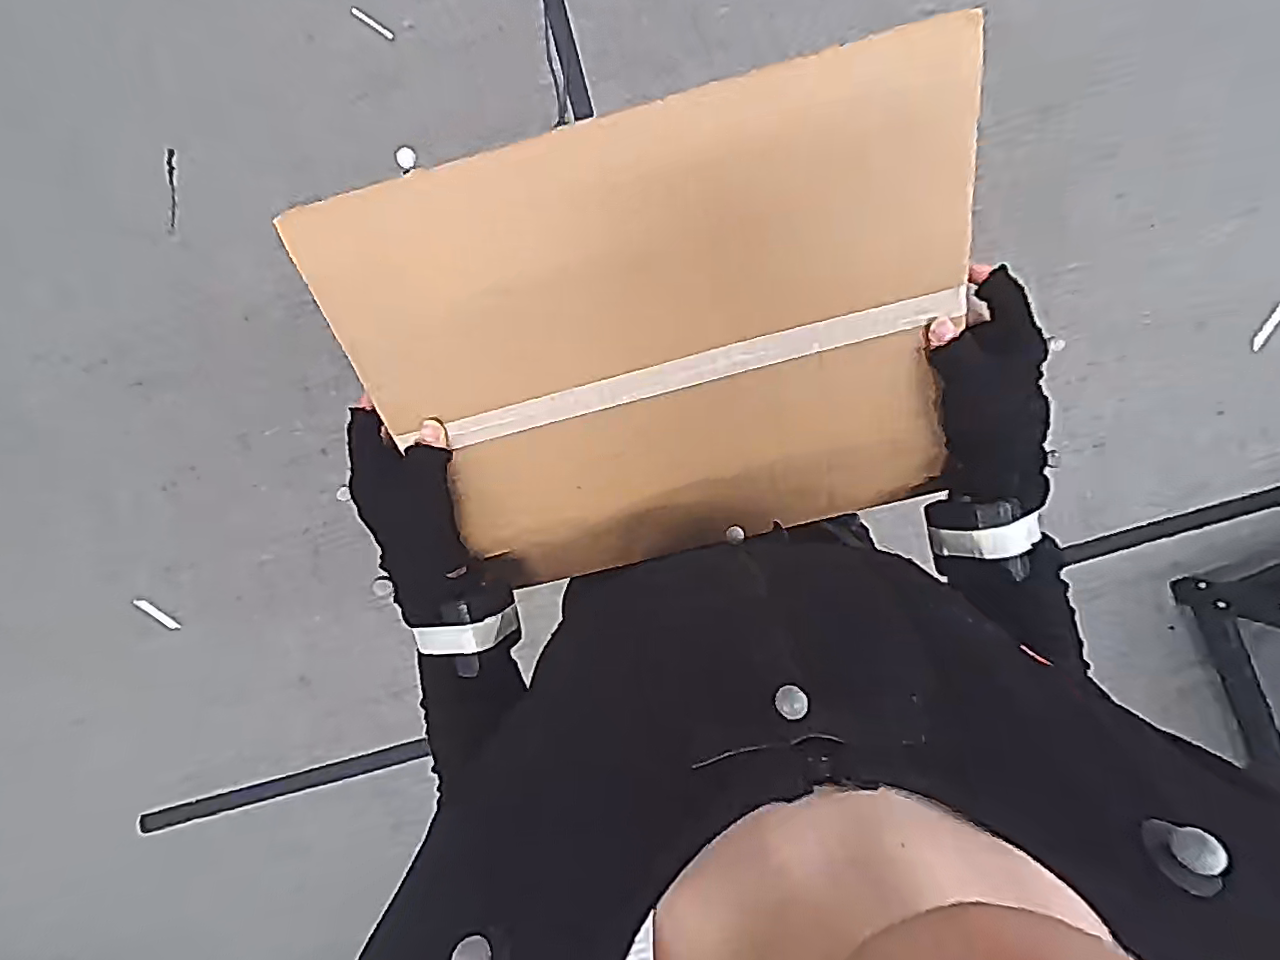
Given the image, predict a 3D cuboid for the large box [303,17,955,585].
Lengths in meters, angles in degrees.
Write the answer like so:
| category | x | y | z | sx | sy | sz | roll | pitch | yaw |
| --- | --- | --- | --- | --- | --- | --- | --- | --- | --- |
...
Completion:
| category | x | y | z | sx | sy | sz | roll | pitch | yaw |
| --- | --- | --- | --- | --- | --- | --- | --- | --- | --- |
| large box | 0.010 | -0.155 | 0.515 | 0.408 | 0.320 | 0.320 | -14 | 123 | 5 |
